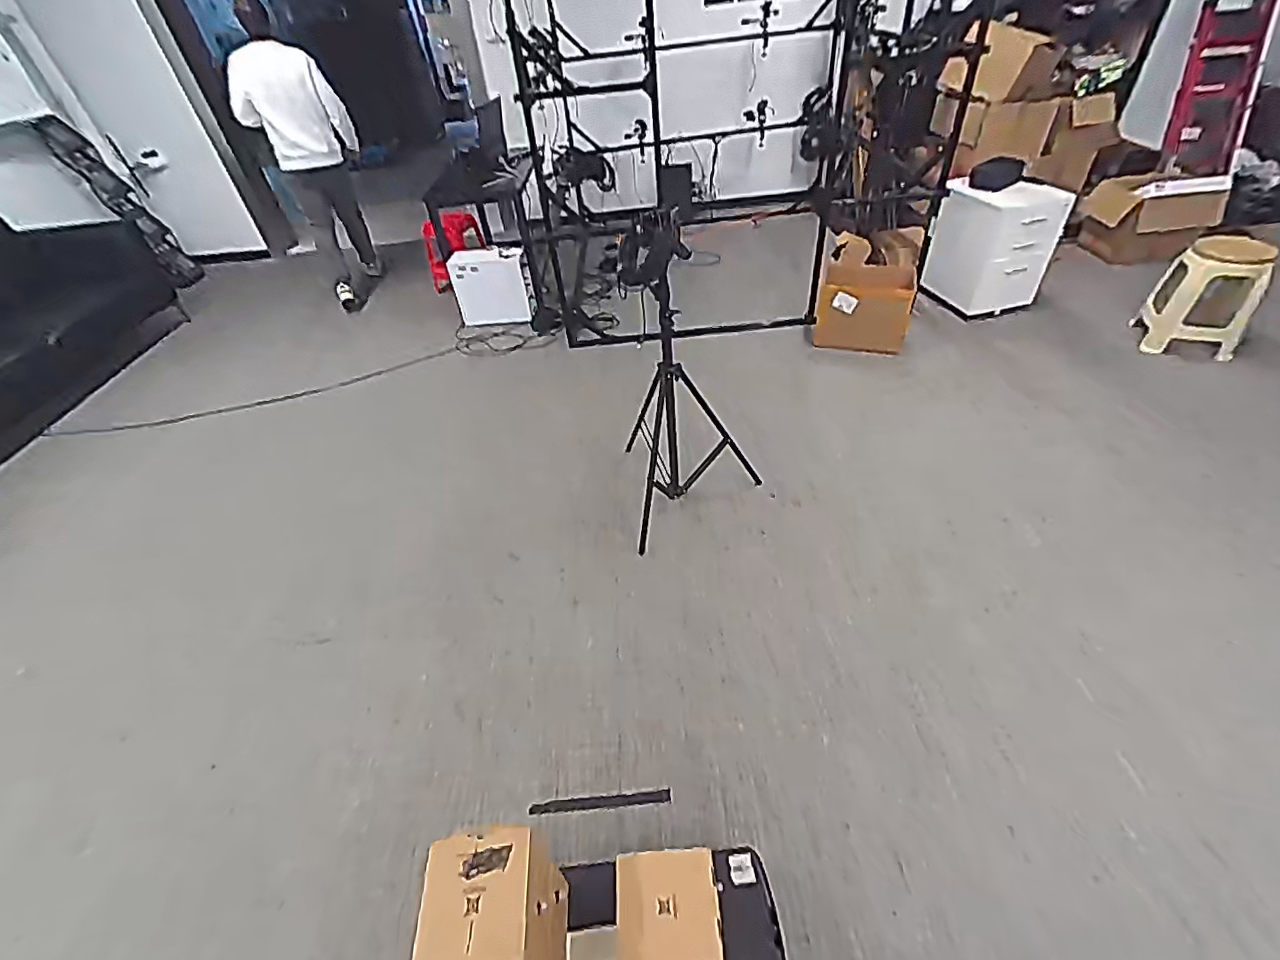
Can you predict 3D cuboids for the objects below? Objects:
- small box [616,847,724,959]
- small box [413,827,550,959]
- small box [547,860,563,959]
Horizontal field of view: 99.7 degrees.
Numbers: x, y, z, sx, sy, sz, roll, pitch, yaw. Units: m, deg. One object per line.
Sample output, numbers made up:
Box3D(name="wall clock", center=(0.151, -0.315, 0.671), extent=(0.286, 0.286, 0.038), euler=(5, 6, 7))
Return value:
Box3D(name="small box", center=(0.054, 0.788, 0.978), extent=(0.179, 0.176, 0.168), euler=(-7, 41, 3))
Box3D(name="small box", center=(-0.242, 0.693, 0.871), extent=(0.168, 0.176, 0.179), euler=(-7, 42, -1))
Box3D(name="small box", center=(-0.226, 0.818, 0.975), extent=(0.168, 0.176, 0.179), euler=(-6, 41, 0))
